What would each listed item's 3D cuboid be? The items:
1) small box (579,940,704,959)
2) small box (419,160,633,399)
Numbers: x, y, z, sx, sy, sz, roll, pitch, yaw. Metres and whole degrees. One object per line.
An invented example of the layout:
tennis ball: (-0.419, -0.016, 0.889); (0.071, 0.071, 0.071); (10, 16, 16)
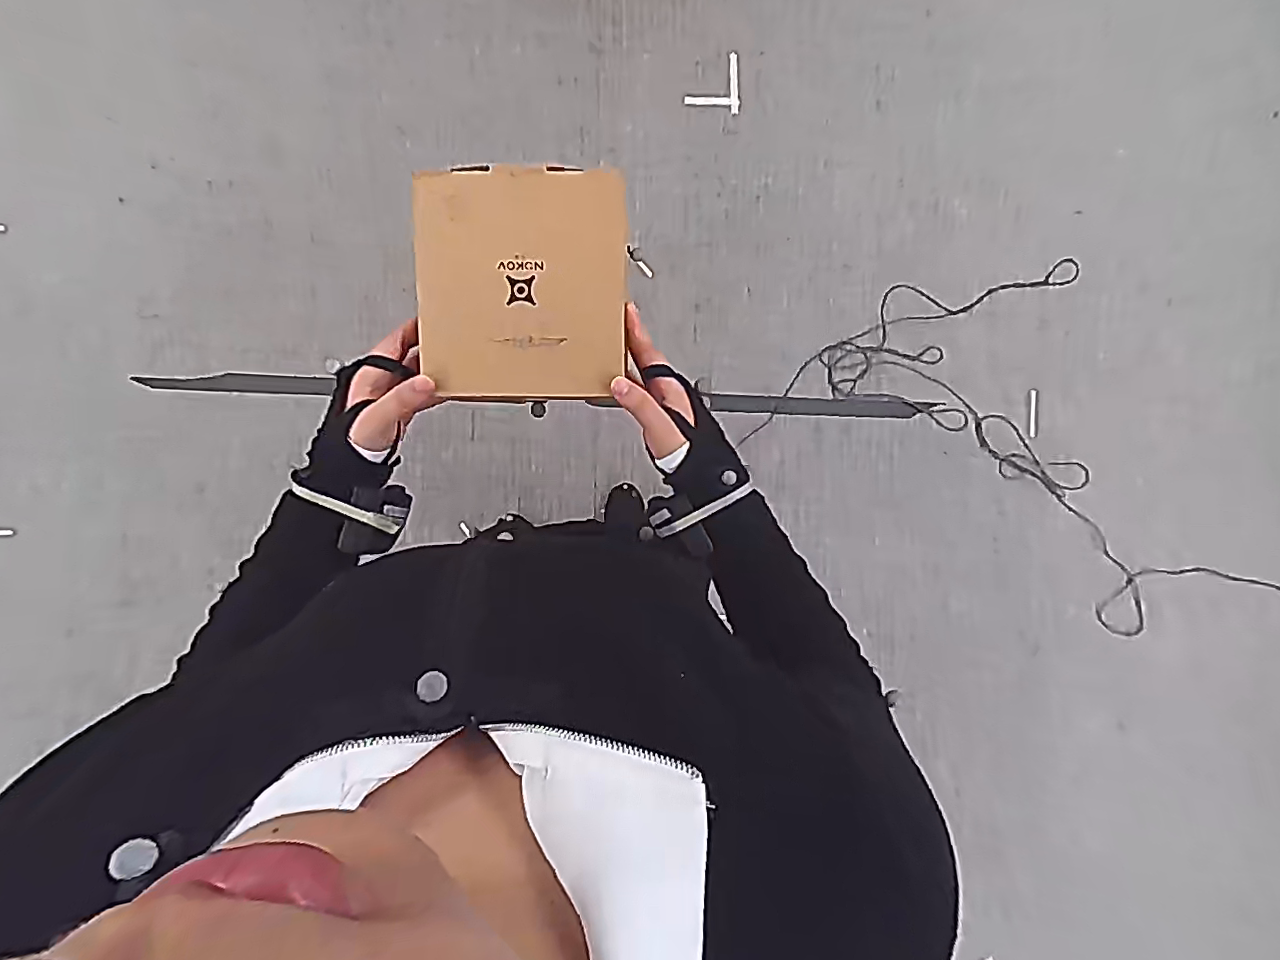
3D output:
small box: (0.005, 0.725, 0.679); (0.179, 0.176, 0.168); (1, 89, -2)
small box: (-0.091, -0.168, 0.504); (0.168, 0.176, 0.179); (1, 98, 0)
